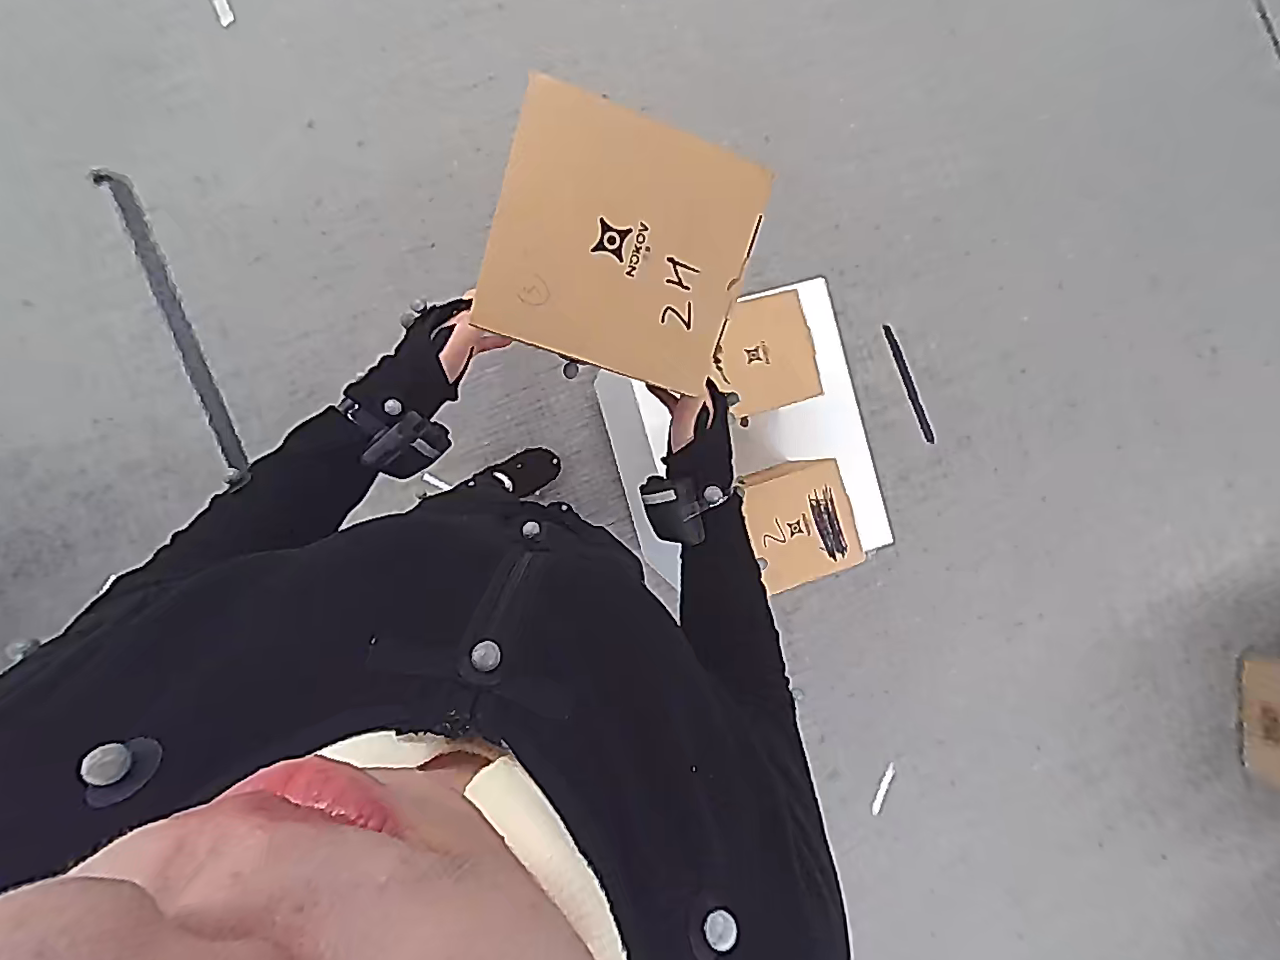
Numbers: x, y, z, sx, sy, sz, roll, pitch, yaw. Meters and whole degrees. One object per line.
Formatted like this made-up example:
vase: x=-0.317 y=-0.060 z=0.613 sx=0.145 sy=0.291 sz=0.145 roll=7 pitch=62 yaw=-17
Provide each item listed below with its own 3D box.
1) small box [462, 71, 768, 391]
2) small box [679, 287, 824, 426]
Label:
small box: x=-0.026 y=-0.179 z=0.447 sx=0.179 sy=0.176 sz=0.168 roll=16 pitch=101 yaw=-10
small box: x=0.162 y=-0.191 z=0.874 sx=0.179 sy=0.176 sz=0.168 roll=-15 pitch=93 yaw=-10
